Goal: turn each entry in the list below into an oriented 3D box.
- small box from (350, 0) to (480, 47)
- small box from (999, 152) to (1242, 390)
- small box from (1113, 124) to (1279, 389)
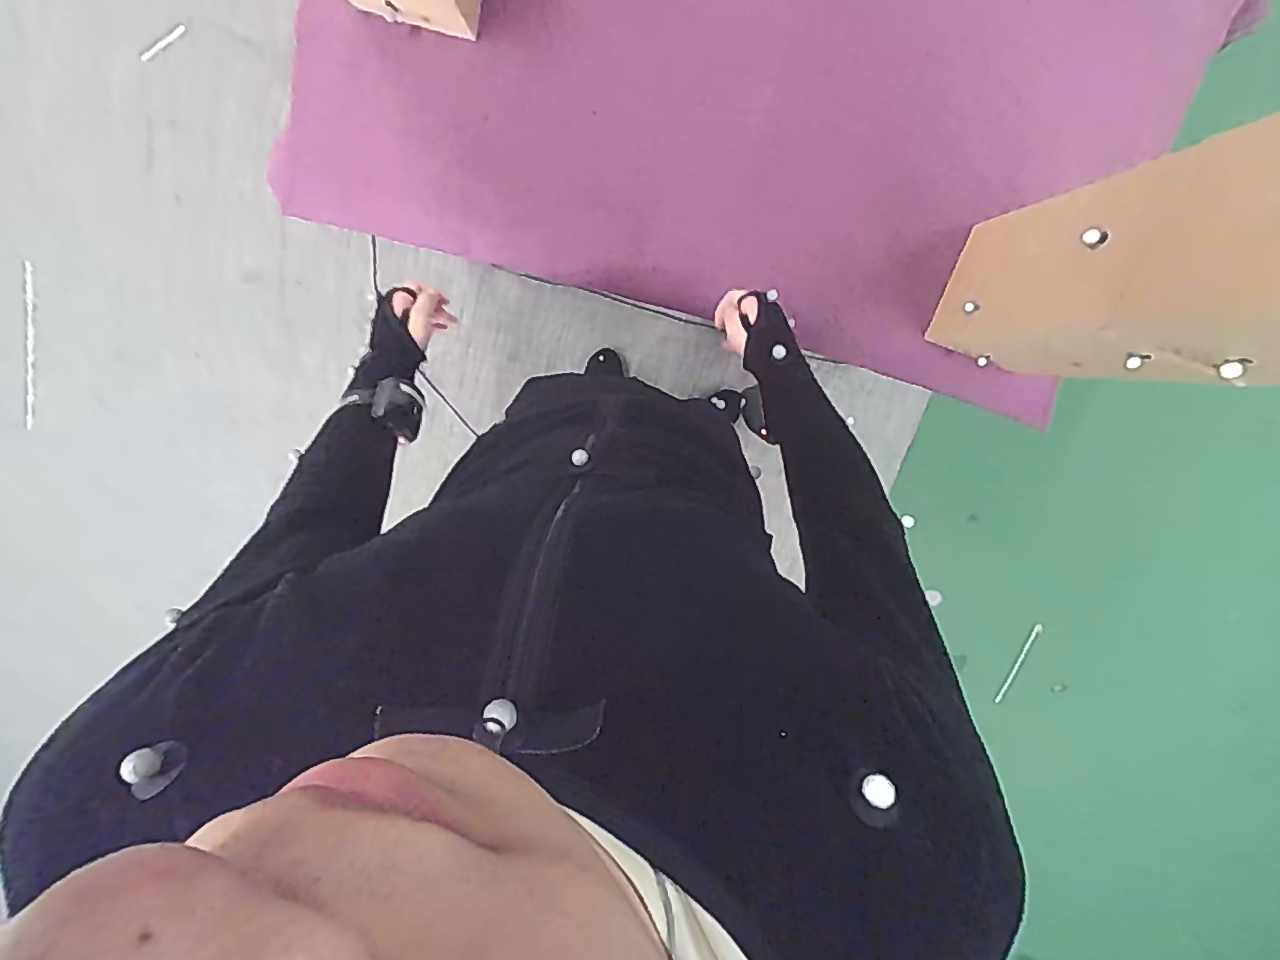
[{"bbox_3d":[-0.285,-0.668,0.636,0.168,0.176,0.179,12,105,-3],"label":"small box"},{"bbox_3d":[0.544,-0.211,0.591,0.168,0.176,0.179,18,102,-4],"label":"small box"},{"bbox_3d":[0.545,-0.176,0.429,0.168,0.176,0.179,18,103,-4],"label":"small box"}]
